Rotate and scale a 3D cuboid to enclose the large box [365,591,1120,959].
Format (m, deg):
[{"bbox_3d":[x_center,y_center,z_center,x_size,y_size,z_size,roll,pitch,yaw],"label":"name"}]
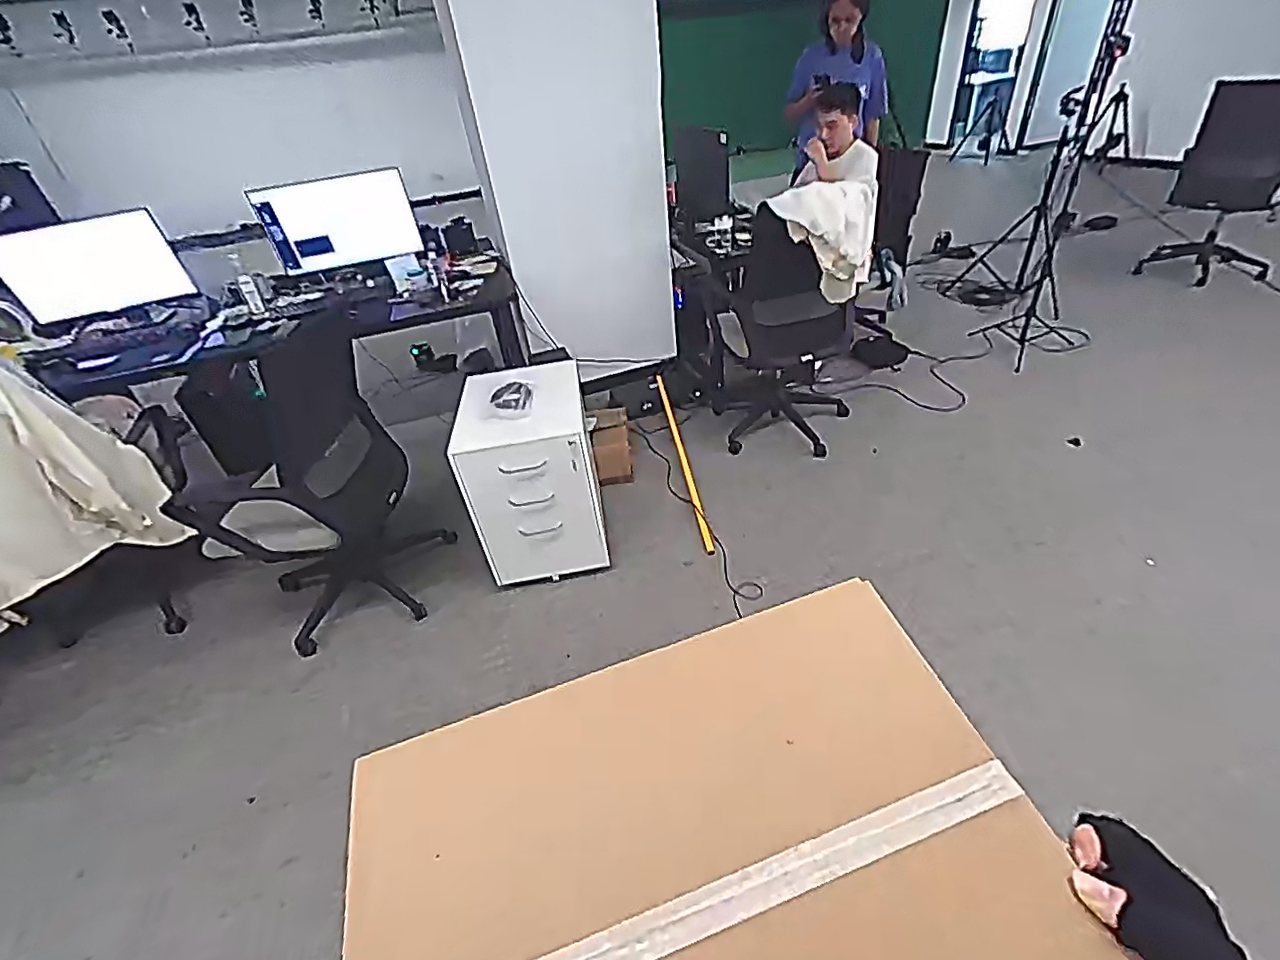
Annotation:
[{"bbox_3d":[0.057,0.352,0.425,0.408,0.320,0.320,-18,47,-7],"label":"large box"}]
